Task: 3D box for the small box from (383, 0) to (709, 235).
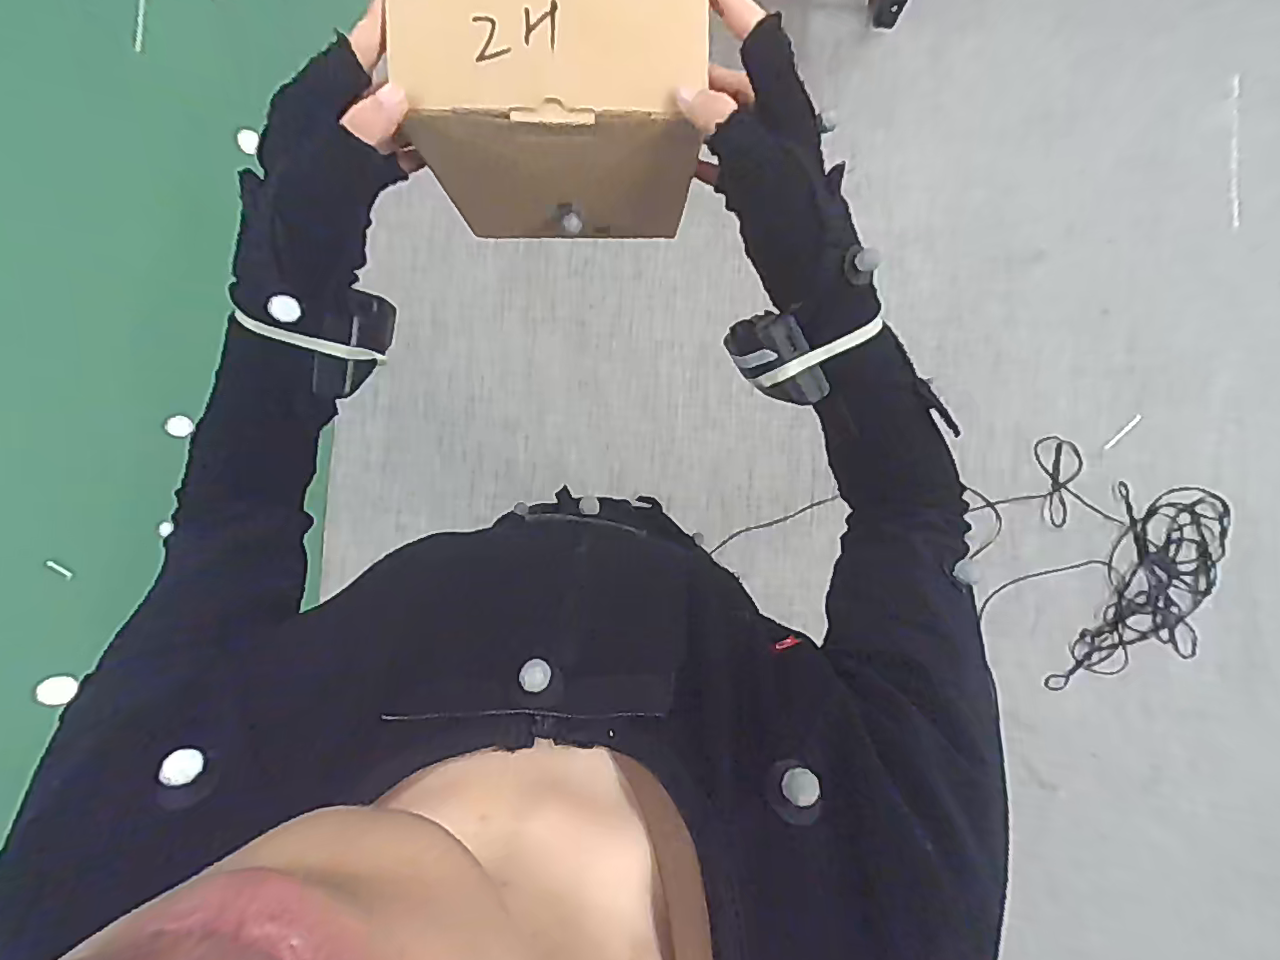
[{"bbox_3d":[-0.049,-0.285,0.351,0.168,0.176,0.179,0,92,-2],"label":"small box"}]
